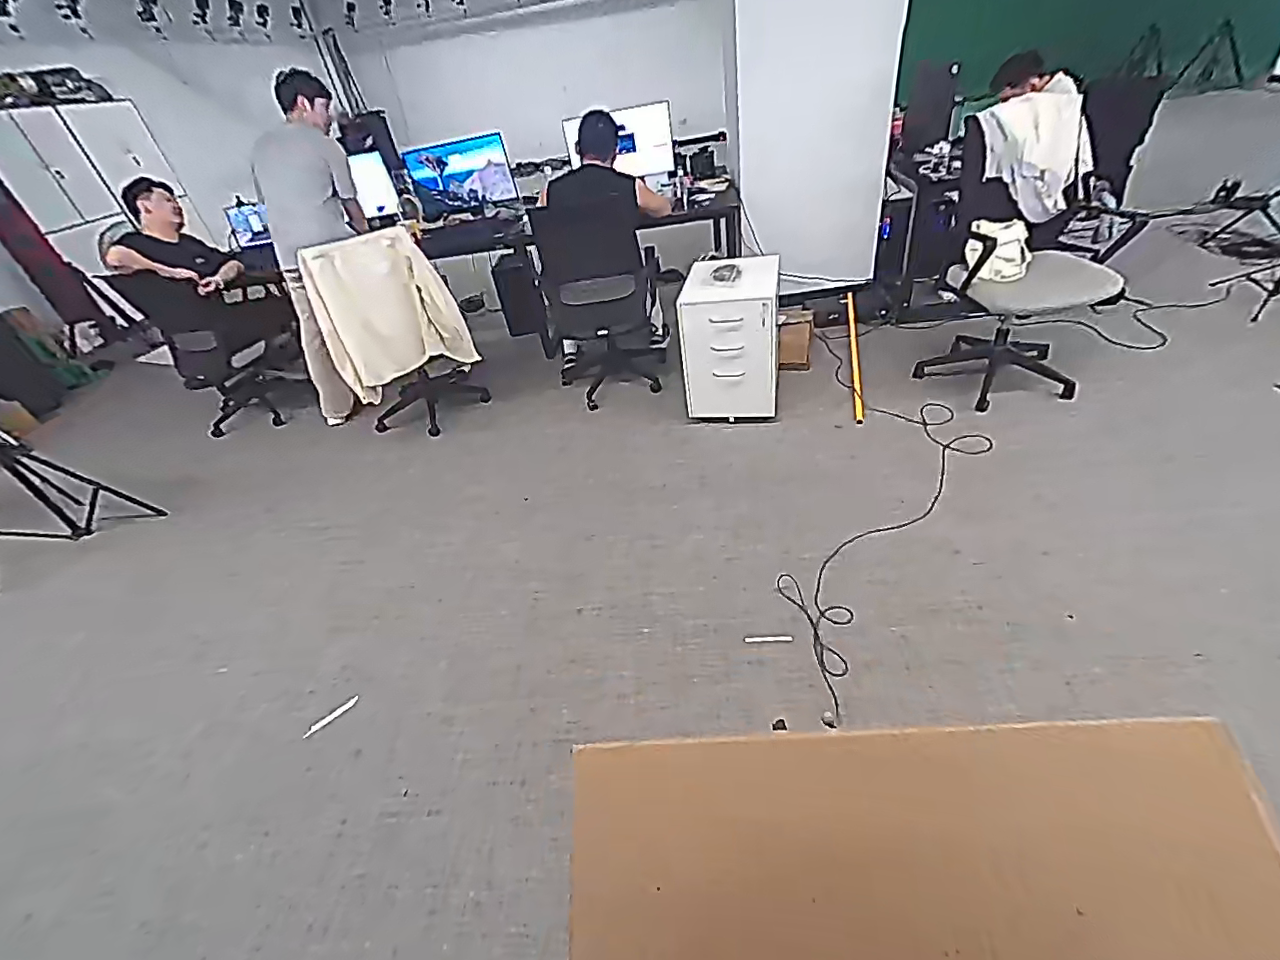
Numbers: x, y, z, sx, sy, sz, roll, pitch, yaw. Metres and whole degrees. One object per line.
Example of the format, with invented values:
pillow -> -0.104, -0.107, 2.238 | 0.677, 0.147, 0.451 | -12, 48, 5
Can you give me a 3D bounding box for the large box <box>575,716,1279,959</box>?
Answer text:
large box -> 0.184, 0.372, 0.434 | 0.408, 0.320, 0.320 | -7, 65, 7
